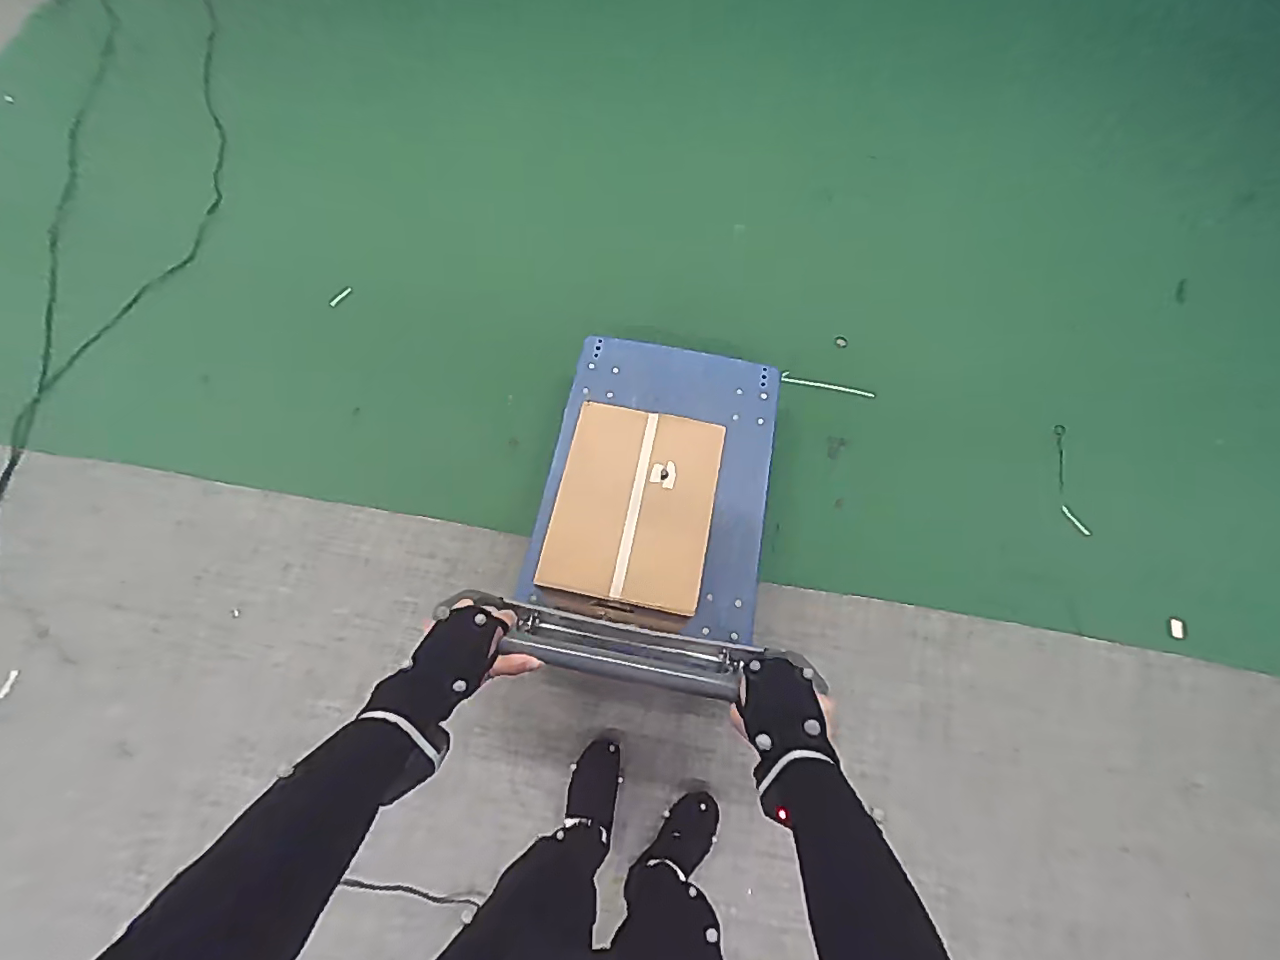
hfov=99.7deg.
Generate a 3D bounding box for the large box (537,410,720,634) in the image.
[{"bbox_3d":[-0.015,0.110,1.228,0.320,0.320,0.408,11,68,2],"label":"large box"}]
